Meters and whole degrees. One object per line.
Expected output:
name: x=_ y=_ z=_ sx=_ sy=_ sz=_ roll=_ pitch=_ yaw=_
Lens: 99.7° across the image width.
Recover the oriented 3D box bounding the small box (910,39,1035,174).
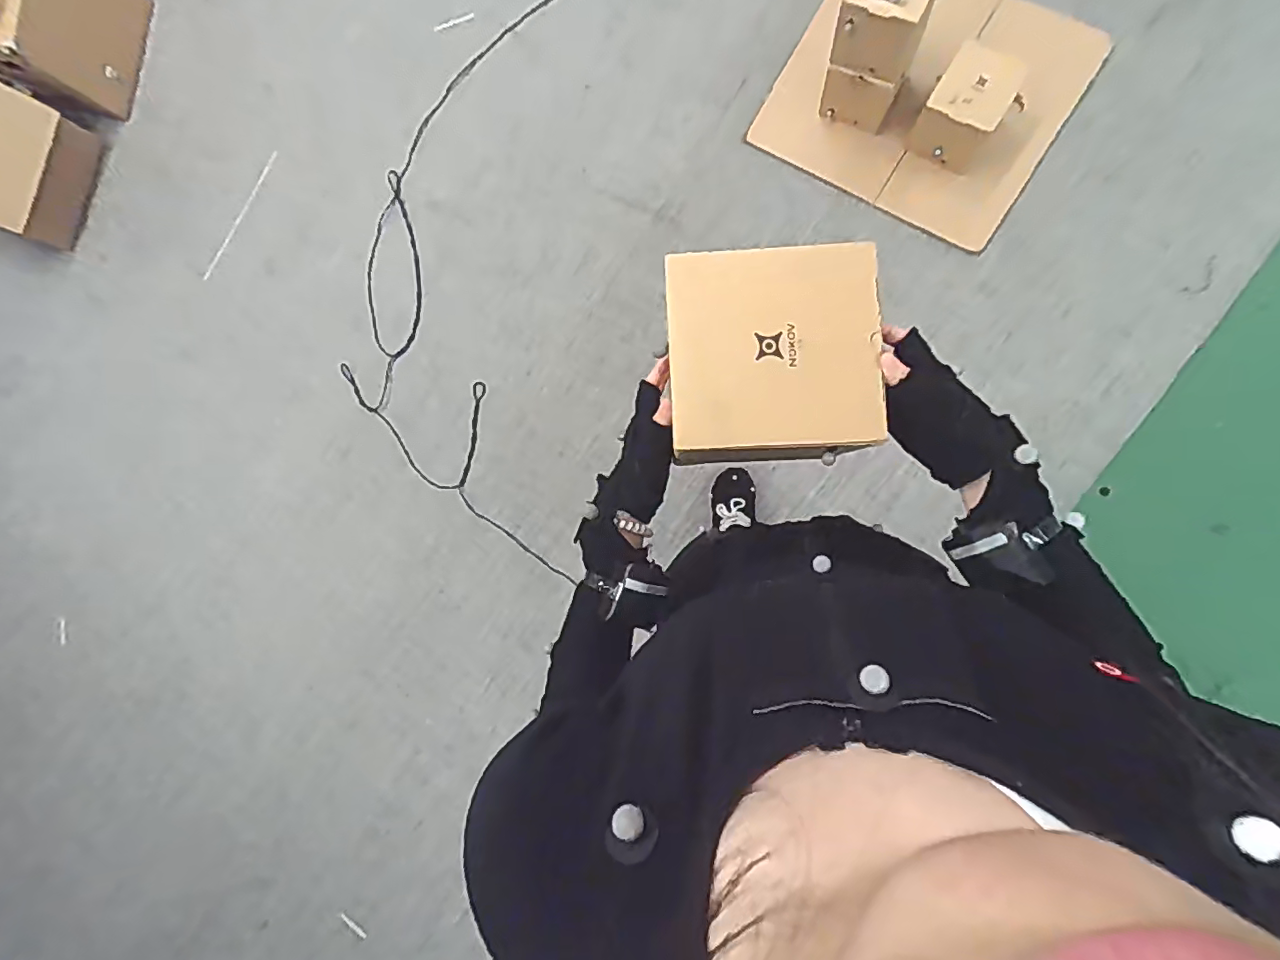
small box: x=0.789 y=-0.894 z=1.307 sx=0.168 sy=0.176 sz=0.179 roll=32 pitch=95 yaw=11

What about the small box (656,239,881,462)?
small box: x=0.107 y=-0.108 z=0.519 sx=0.179 sy=0.176 sz=0.168 roll=-3 pitch=87 yaw=2

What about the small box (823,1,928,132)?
small box: x=0.574 y=-1.017 z=1.347 sx=0.168 sy=0.176 sz=0.179 roll=28 pitch=93 yaw=10
